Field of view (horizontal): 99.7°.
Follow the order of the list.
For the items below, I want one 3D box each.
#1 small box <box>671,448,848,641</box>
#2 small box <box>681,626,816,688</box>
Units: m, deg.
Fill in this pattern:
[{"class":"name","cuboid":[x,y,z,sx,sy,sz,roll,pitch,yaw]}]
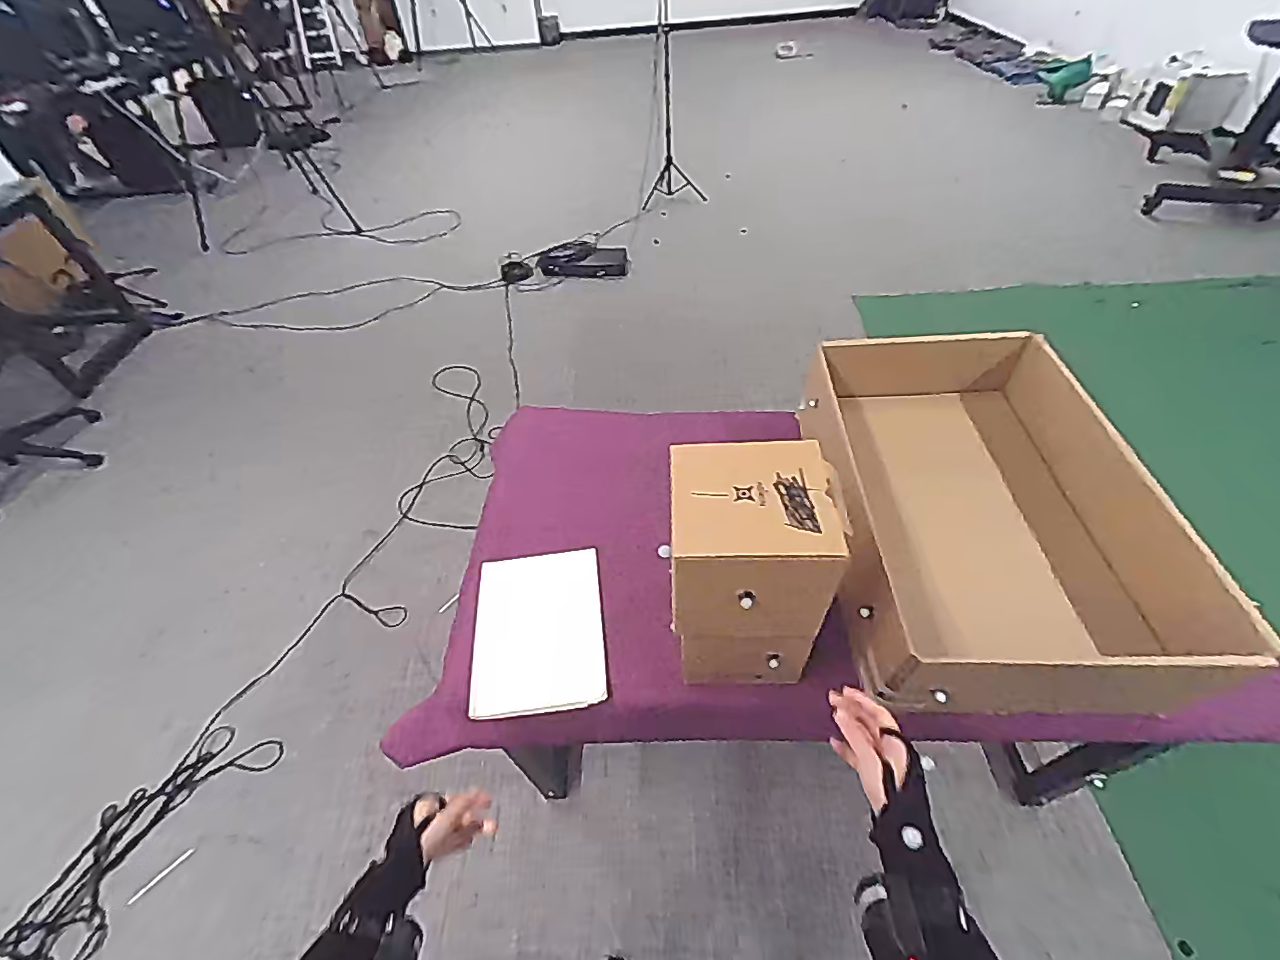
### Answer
[{"class":"small box","cuboid":[0.126,0.079,0.646,0.179,0.176,0.168,-1,46,4]},{"class":"small box","cuboid":[0.142,0.183,0.772,0.168,0.176,0.179,-1,46,4]}]
